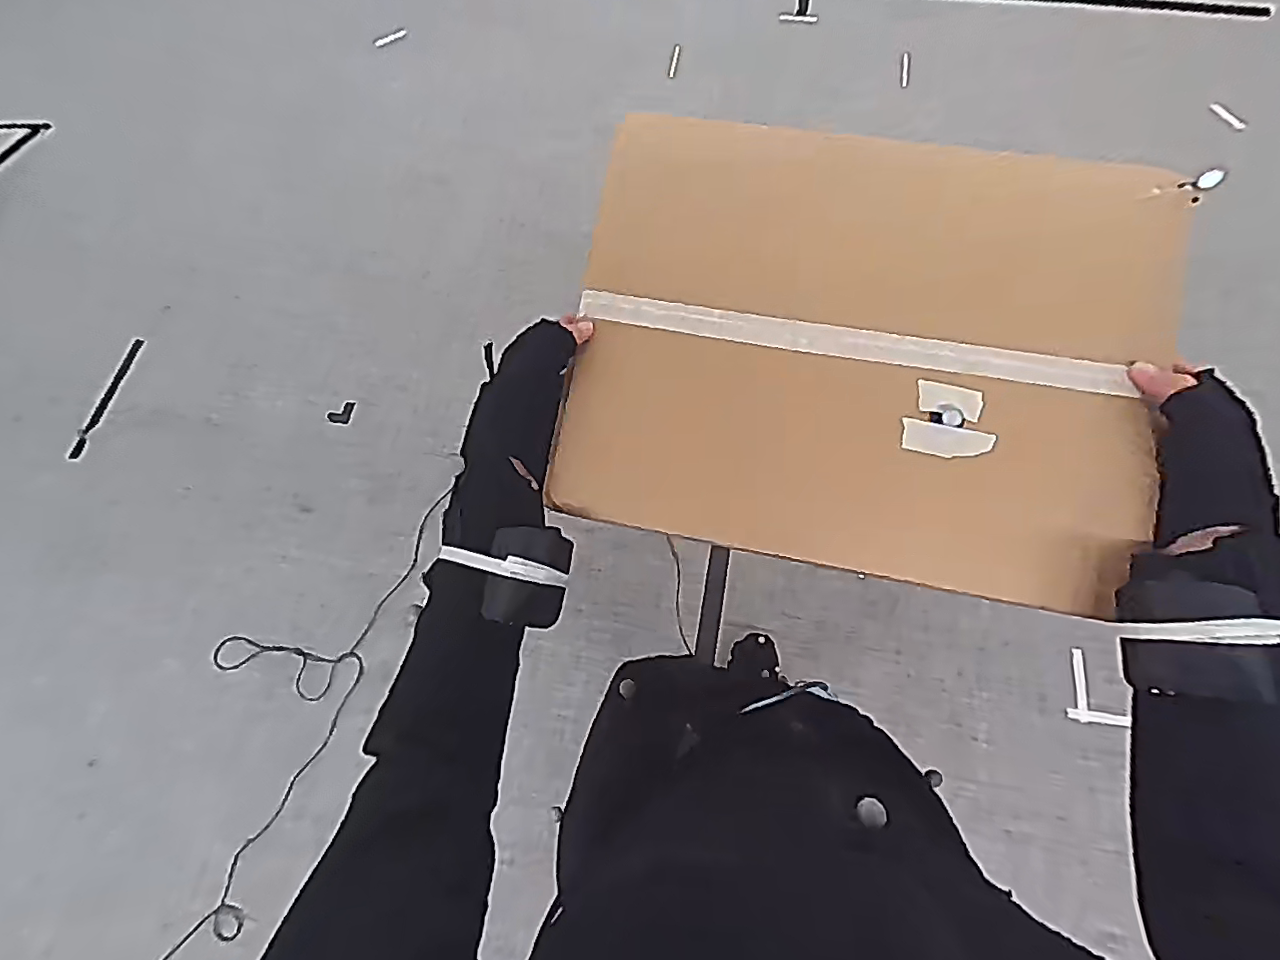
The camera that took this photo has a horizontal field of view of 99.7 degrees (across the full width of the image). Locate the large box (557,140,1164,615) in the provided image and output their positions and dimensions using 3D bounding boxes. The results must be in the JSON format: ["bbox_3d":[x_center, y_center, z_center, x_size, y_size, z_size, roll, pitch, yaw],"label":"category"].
[{"bbox_3d":[0.167,-0.076,0.544,0.408,0.320,0.320,10,87,6],"label":"large box"}]
